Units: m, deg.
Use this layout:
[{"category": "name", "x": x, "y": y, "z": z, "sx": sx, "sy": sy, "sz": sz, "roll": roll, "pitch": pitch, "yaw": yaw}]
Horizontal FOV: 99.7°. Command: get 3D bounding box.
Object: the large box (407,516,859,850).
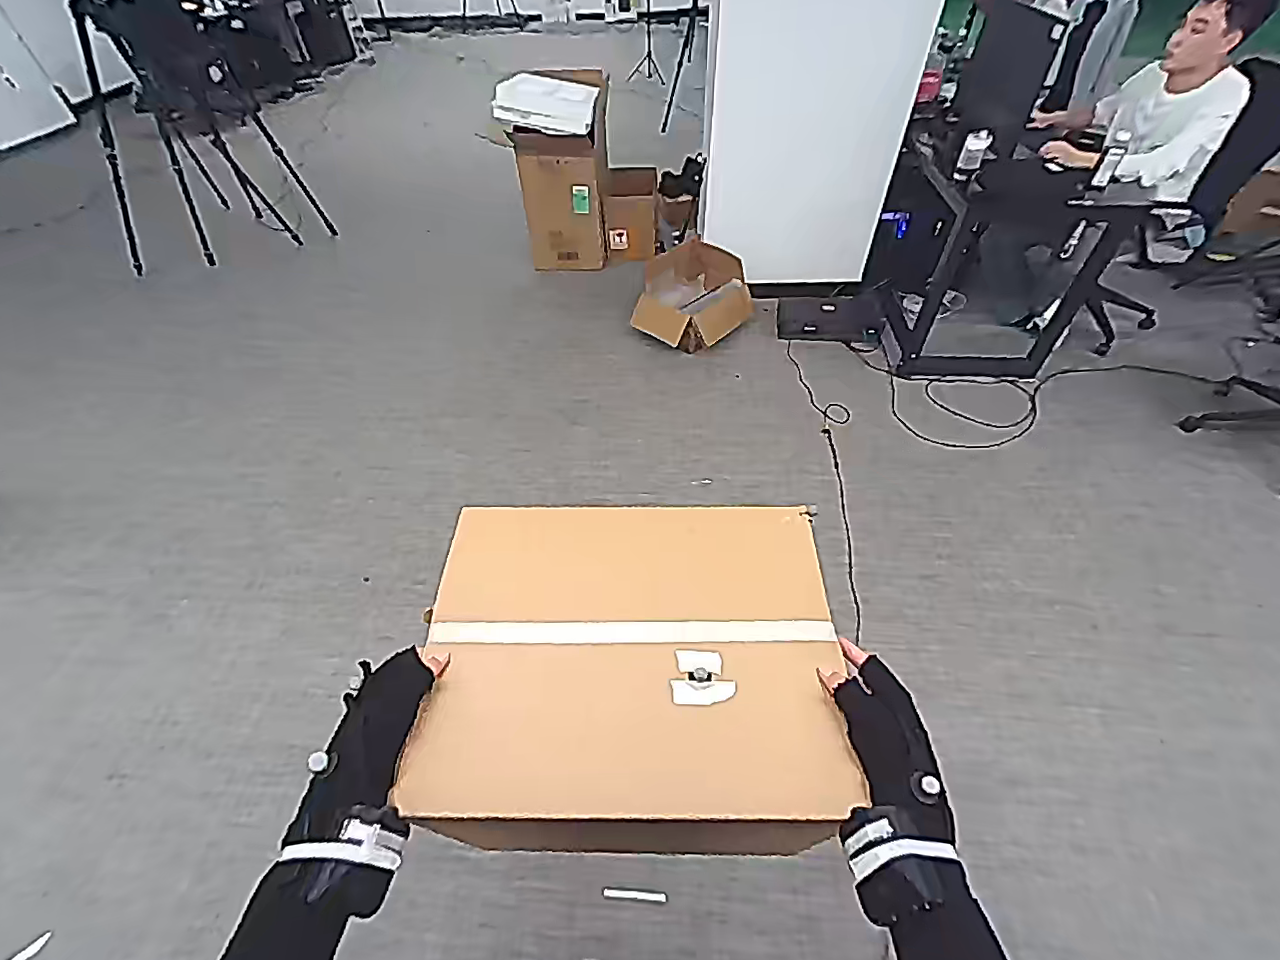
[{"category": "large box", "x": -0.008, "y": 0.258, "z": 0.674, "sx": 0.408, "sy": 0.320, "sz": 0.320, "roll": 0, "pitch": 52, "yaw": 0}]
